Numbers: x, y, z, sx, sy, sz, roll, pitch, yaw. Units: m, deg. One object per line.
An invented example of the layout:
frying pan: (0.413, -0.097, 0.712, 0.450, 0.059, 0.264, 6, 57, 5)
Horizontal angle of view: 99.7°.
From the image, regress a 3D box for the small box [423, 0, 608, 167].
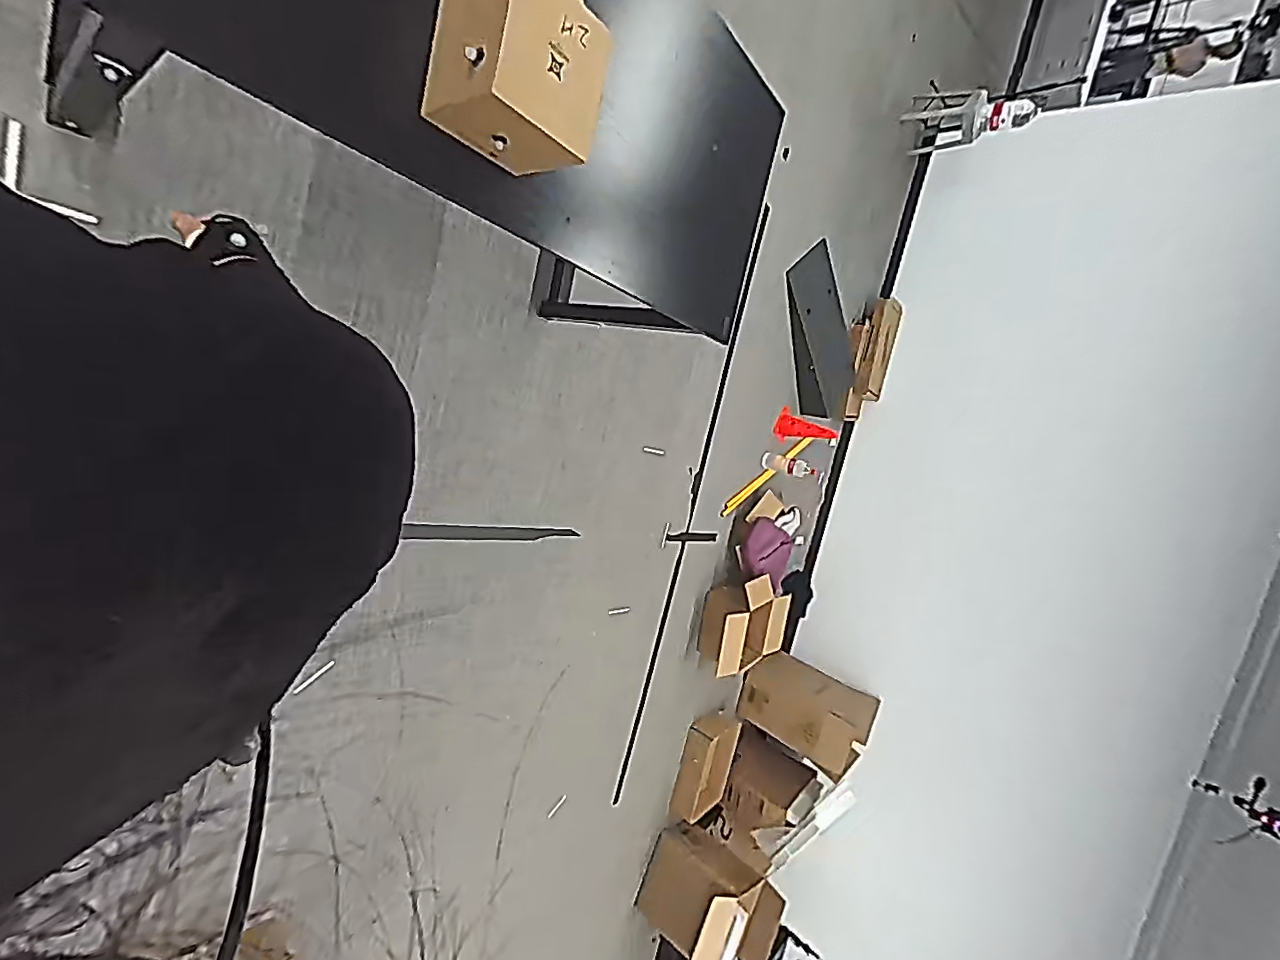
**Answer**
small box: (-0.174, -0.560, 0.743, 0.168, 0.176, 0.179, 5, 100, -52)
